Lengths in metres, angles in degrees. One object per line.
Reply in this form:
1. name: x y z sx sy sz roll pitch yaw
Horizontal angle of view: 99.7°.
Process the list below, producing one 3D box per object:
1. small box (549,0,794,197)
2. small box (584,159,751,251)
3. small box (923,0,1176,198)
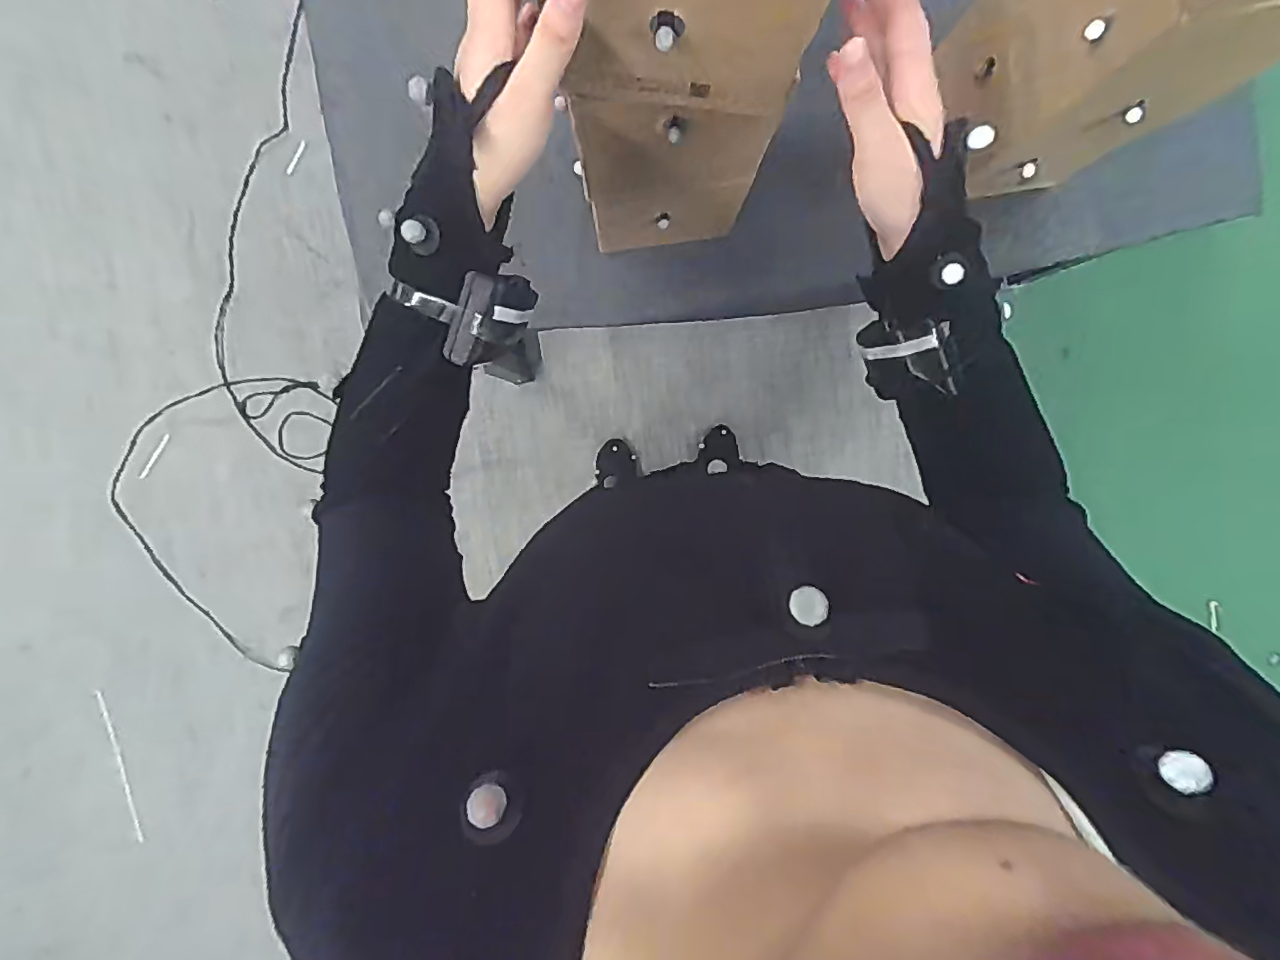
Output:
1. small box: 0.018 -0.369 0.471 0.179 0.176 0.168 -7 96 -1
2. small box: 0.019 -0.386 0.631 0.179 0.176 0.168 -8 94 1
3. small box: 0.459 -0.453 0.631 0.168 0.176 0.179 -9 94 0
